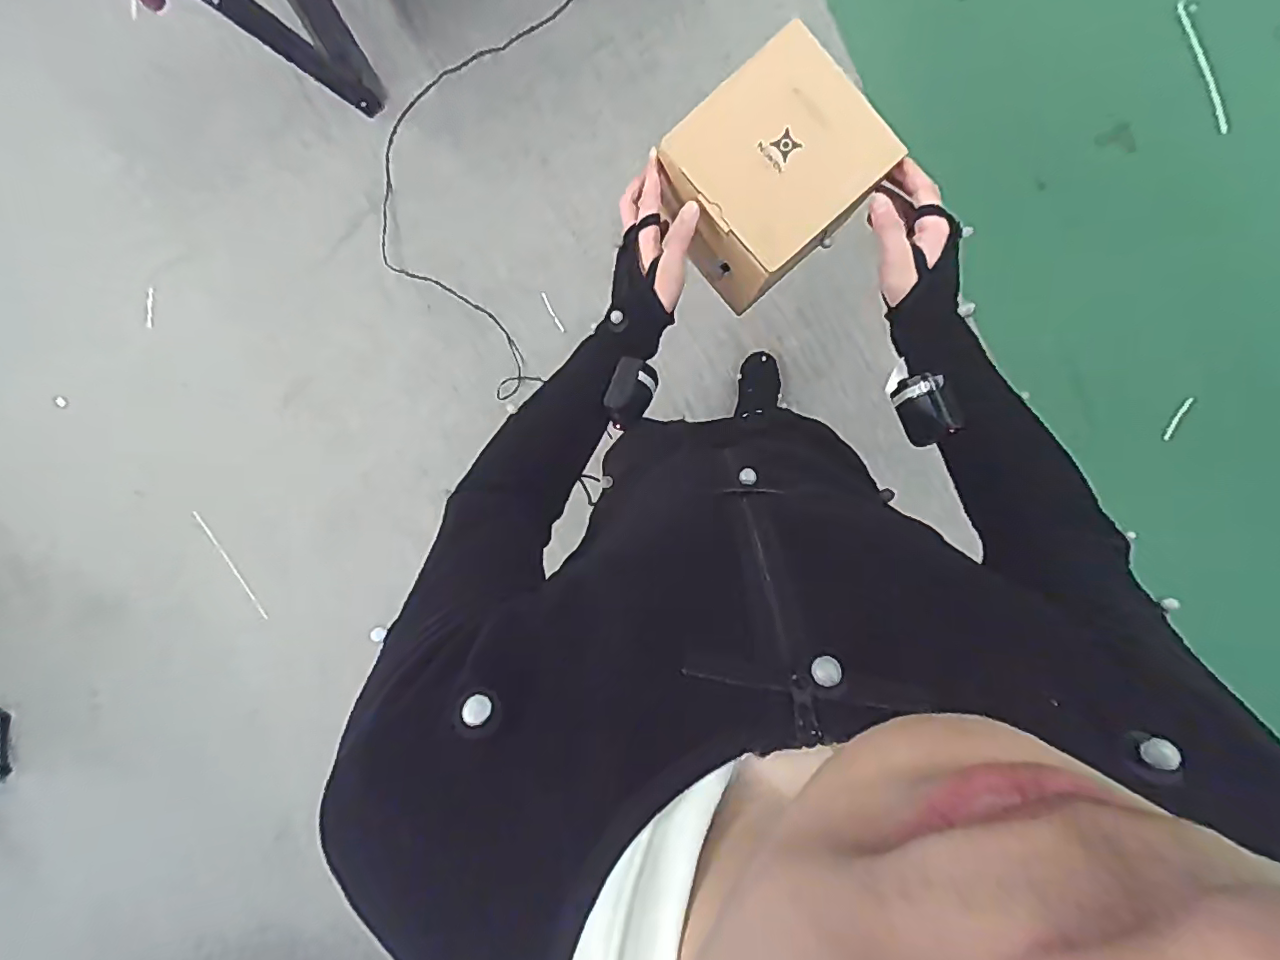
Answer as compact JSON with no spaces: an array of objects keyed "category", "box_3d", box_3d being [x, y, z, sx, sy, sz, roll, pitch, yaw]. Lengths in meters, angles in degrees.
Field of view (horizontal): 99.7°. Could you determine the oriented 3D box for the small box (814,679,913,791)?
[{"category":"small box","box_3d":[0.570,0.654,1.399,0.168,0.176,0.179,-25,96,14]}]
